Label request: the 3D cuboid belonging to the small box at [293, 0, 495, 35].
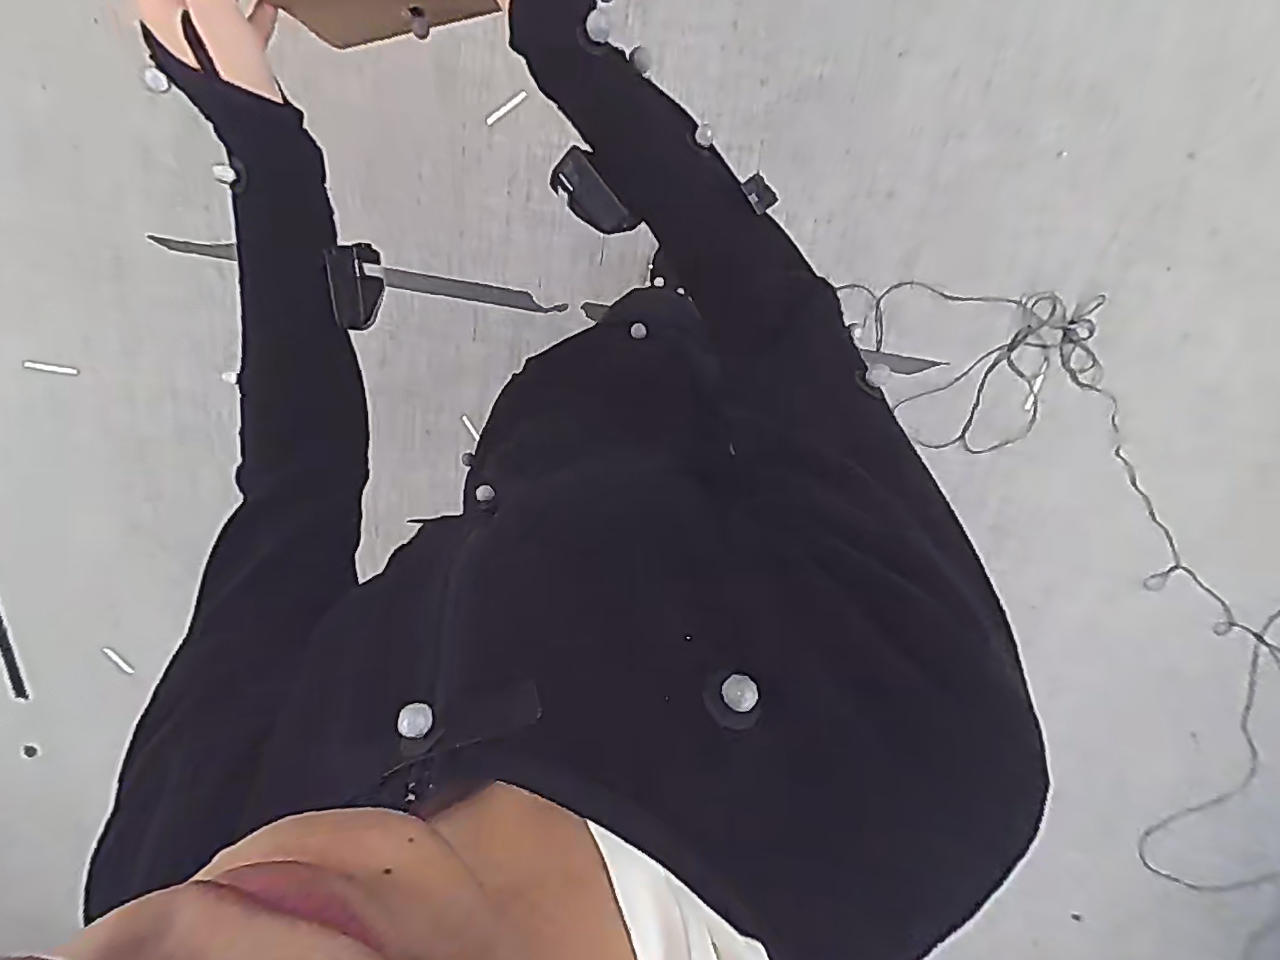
[{"bbox_3d":[-0.196,-0.452,0.379,0.179,0.176,0.168,-13,115,-1],"label":"small box"}]
